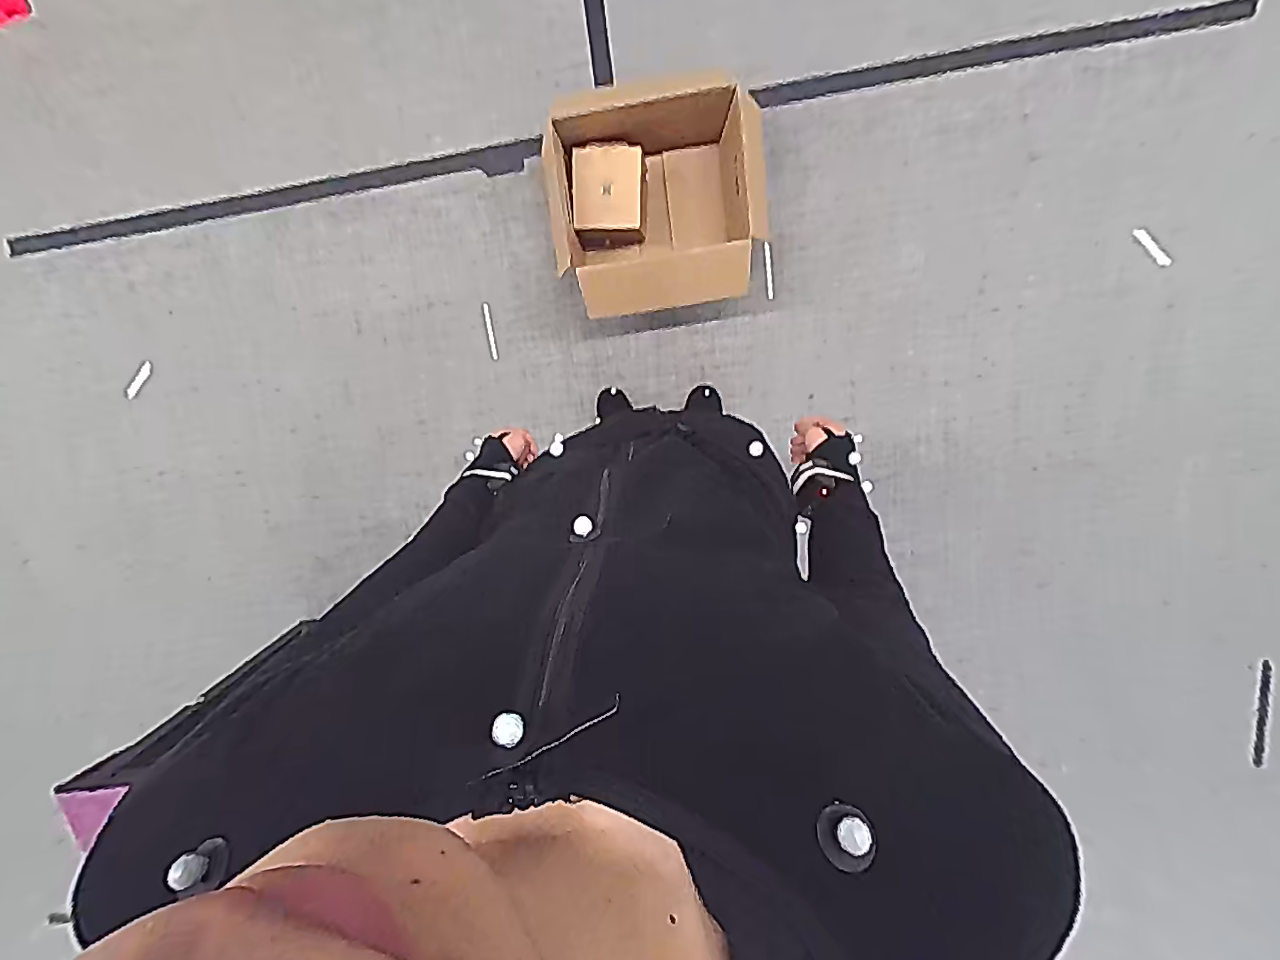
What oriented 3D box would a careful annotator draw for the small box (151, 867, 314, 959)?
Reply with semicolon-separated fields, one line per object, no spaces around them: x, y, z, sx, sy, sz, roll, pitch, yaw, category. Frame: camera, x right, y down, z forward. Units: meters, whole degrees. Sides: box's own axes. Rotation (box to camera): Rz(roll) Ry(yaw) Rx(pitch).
-0.770;0.891;1.045;0.179;0.176;0.168;-14;102;6;small box
